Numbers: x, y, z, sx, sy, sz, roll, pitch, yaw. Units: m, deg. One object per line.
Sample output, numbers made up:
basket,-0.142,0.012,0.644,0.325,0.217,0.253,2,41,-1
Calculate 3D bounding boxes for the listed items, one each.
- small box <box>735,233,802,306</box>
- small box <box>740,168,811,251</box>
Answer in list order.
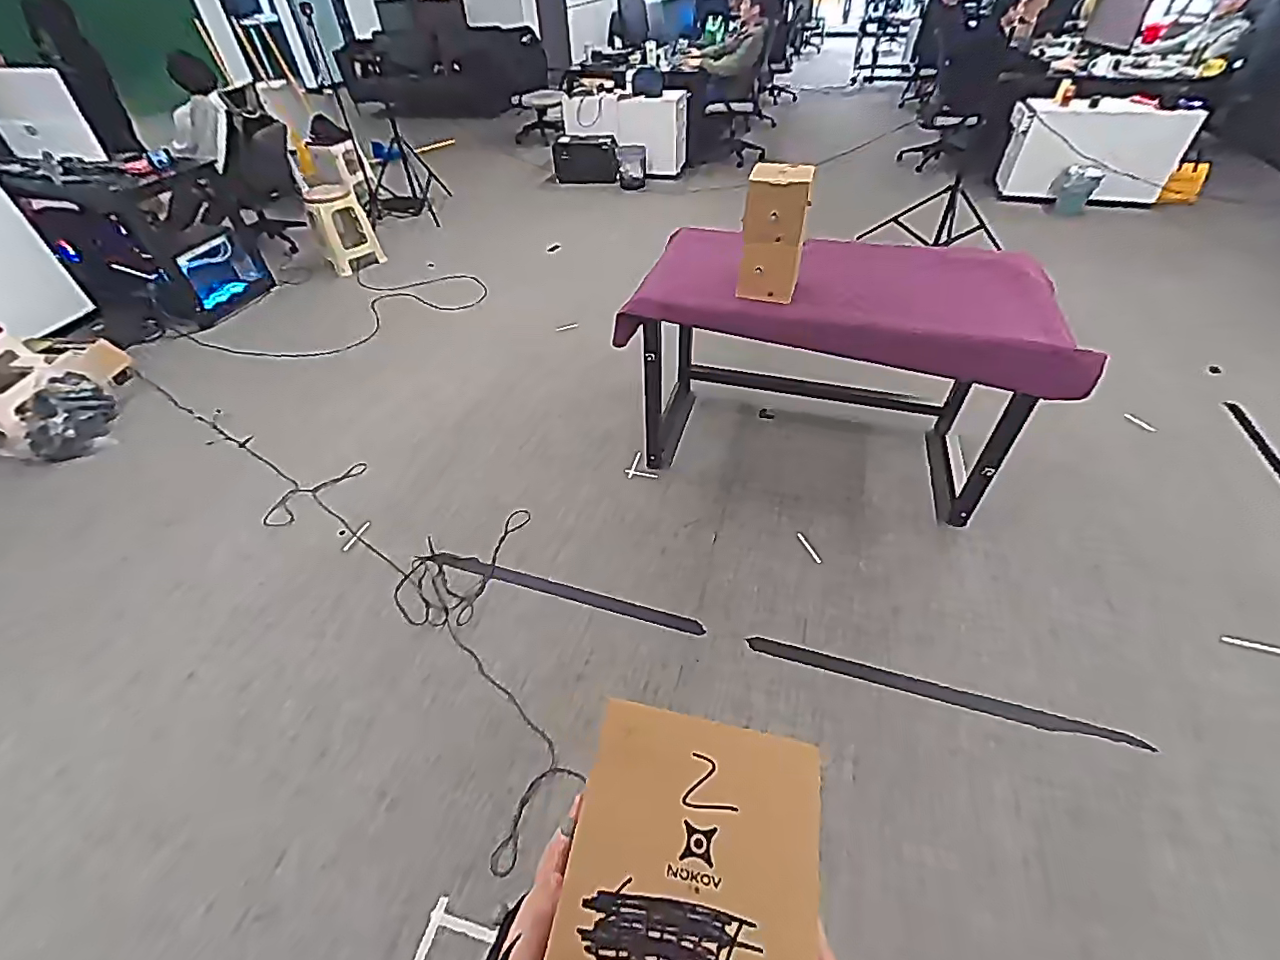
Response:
small box,0.389,-0.648,1.651,0.168,0.176,0.179,12,45,14
small box,0.384,-0.770,1.541,0.168,0.176,0.179,11,46,13
